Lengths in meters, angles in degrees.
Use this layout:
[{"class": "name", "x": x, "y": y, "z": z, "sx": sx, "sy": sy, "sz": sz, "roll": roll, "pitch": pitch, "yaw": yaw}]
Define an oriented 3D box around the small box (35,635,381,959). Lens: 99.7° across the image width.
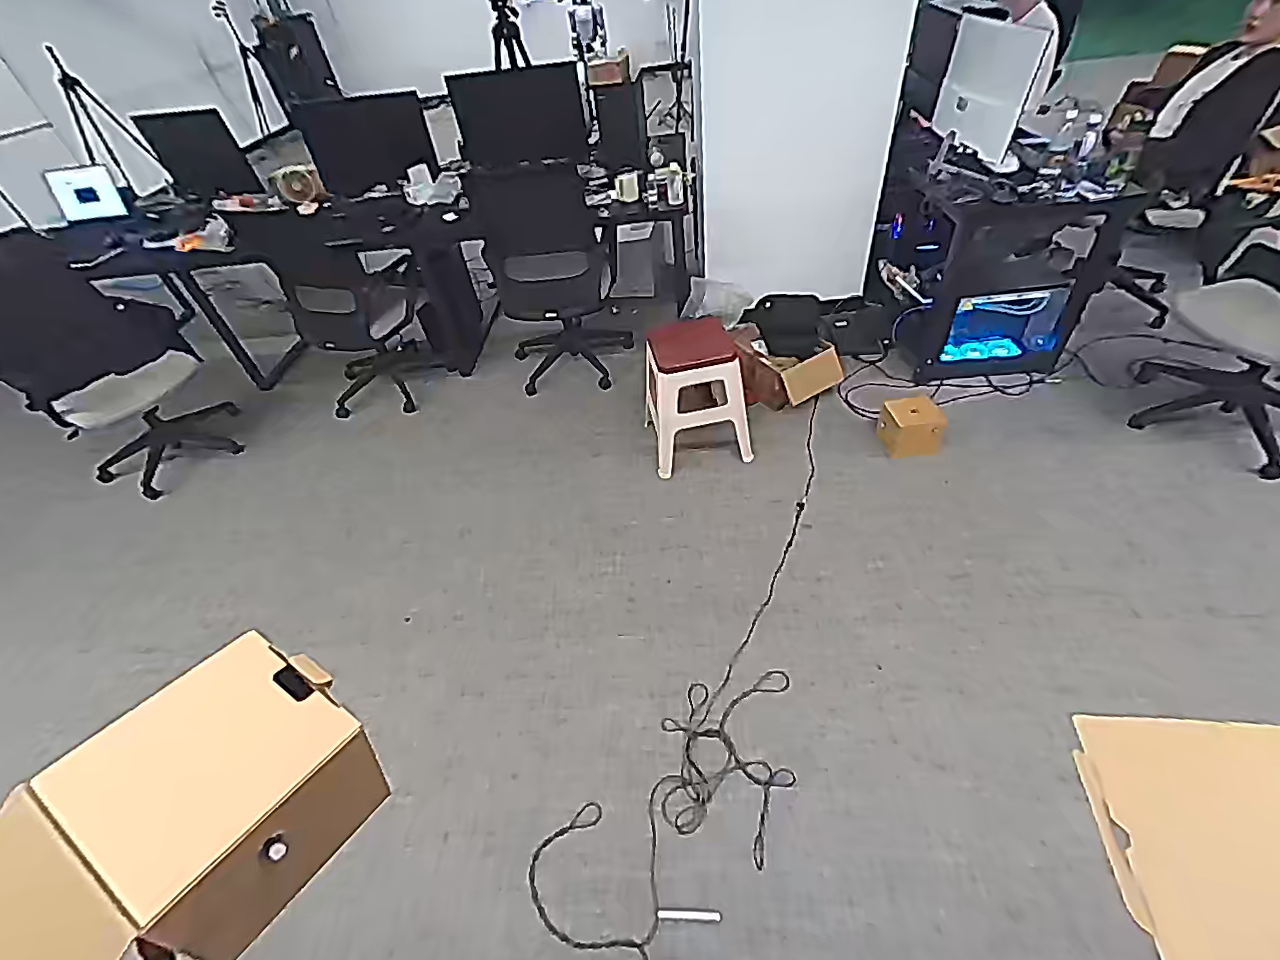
[{"class": "small box", "x": -0.374, "y": 0.291, "z": 0.506, "sx": 0.168, "sy": 0.176, "sz": 0.179, "roll": 29, "pitch": 42, "yaw": 19}]
